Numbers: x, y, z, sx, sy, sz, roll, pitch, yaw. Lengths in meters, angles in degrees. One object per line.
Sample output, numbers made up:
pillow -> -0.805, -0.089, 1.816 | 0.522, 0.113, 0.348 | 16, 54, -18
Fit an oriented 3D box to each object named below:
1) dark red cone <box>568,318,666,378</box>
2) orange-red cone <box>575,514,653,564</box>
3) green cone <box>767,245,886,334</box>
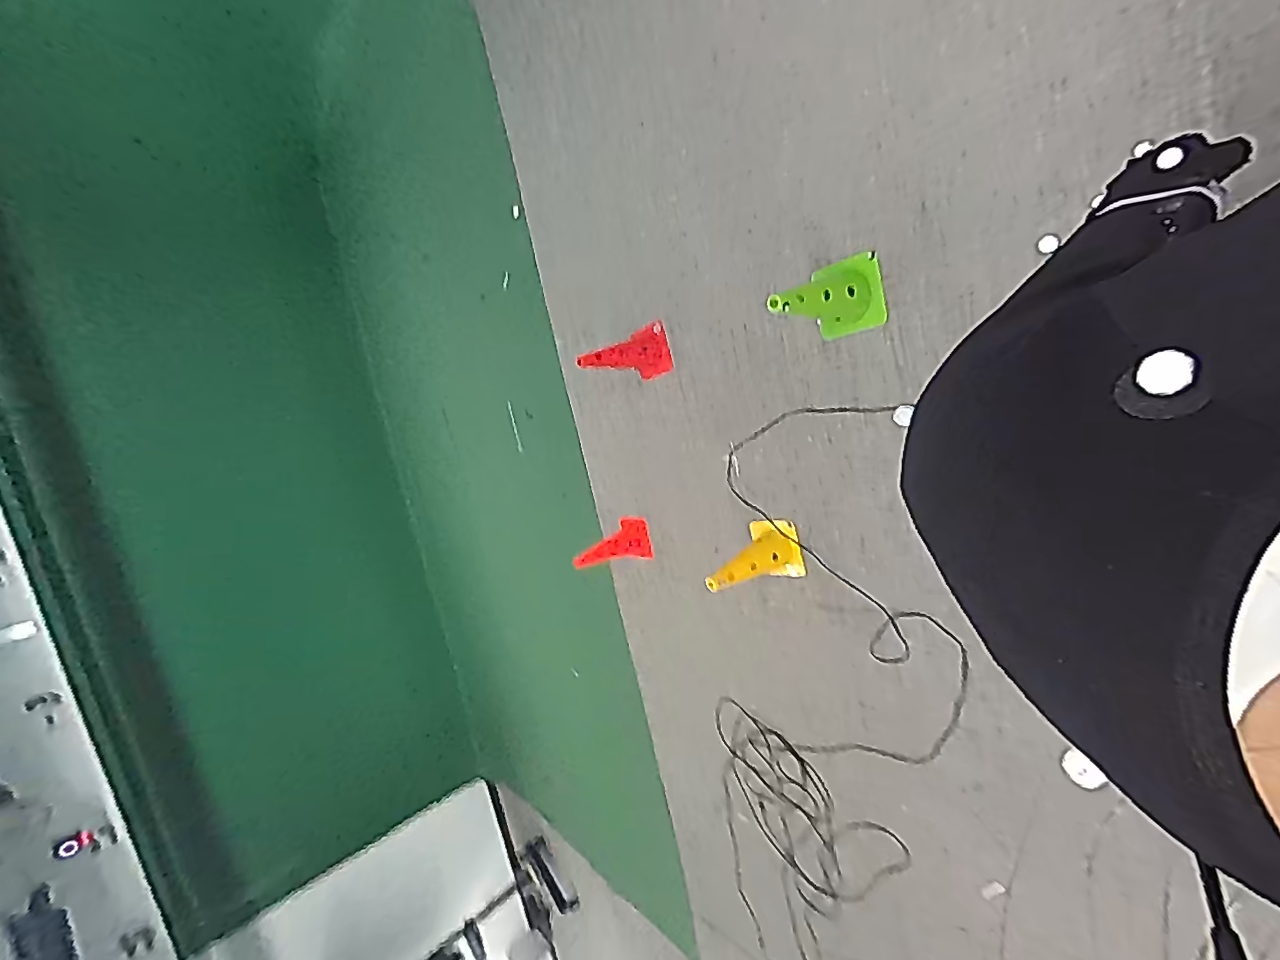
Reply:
dark red cone -> -0.102, -0.480, 2.058 | 0.201, 0.394, 0.202 | -11, 96, 53
orange-red cone -> -0.145, 0.304, 2.484 | 0.199, 0.360, 0.198 | -3, 104, 50
green cone -> 0.452, -0.483, 1.417 | 0.200, 0.368, 0.202 | -5, 102, 52
